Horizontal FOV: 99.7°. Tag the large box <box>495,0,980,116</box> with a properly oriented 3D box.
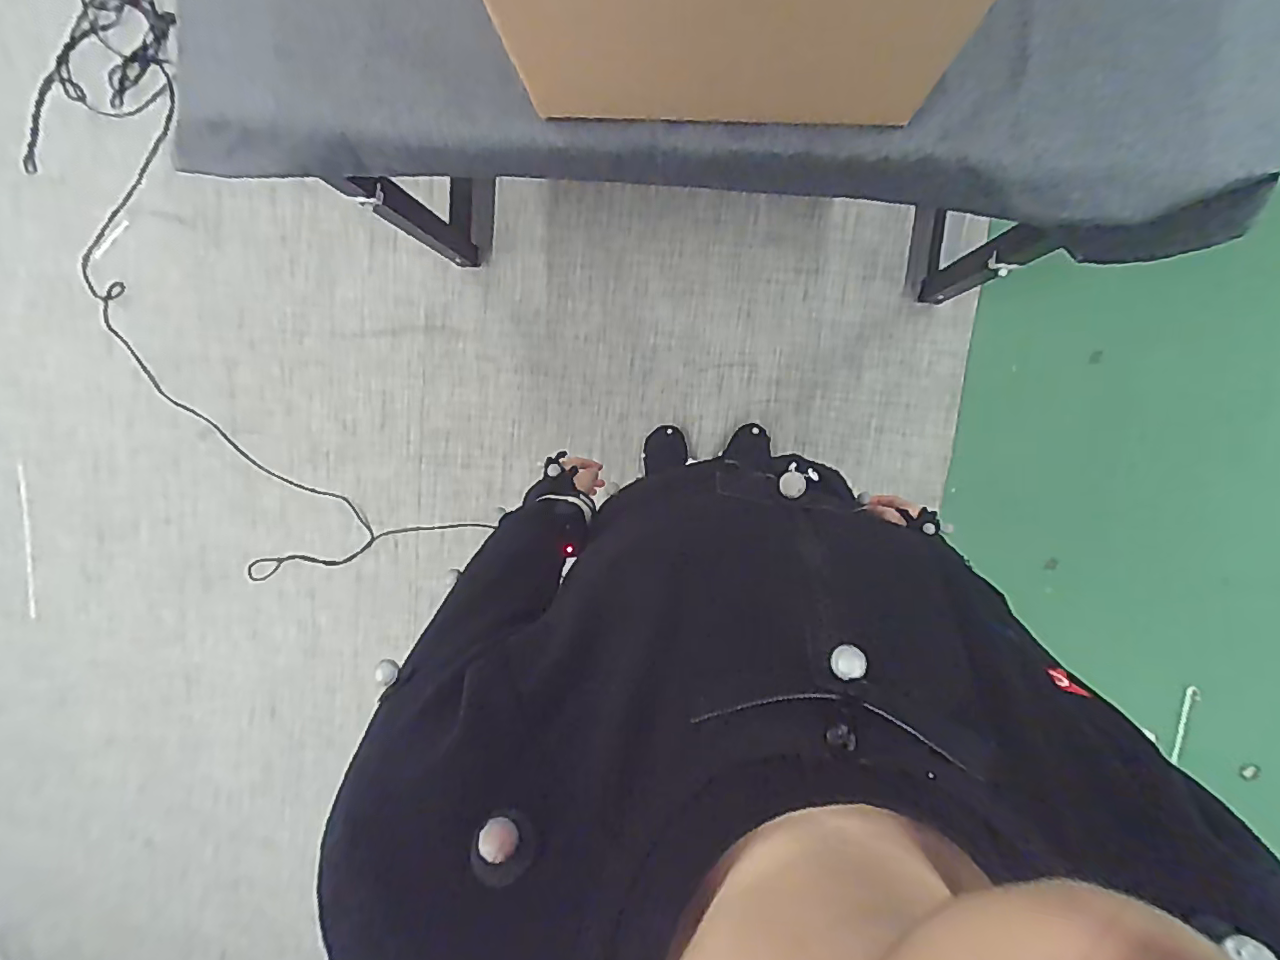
[{"bbox_3d":[0.080,-0.536,0.429,0.408,0.320,0.320,3,96,4],"label":"large box"}]
